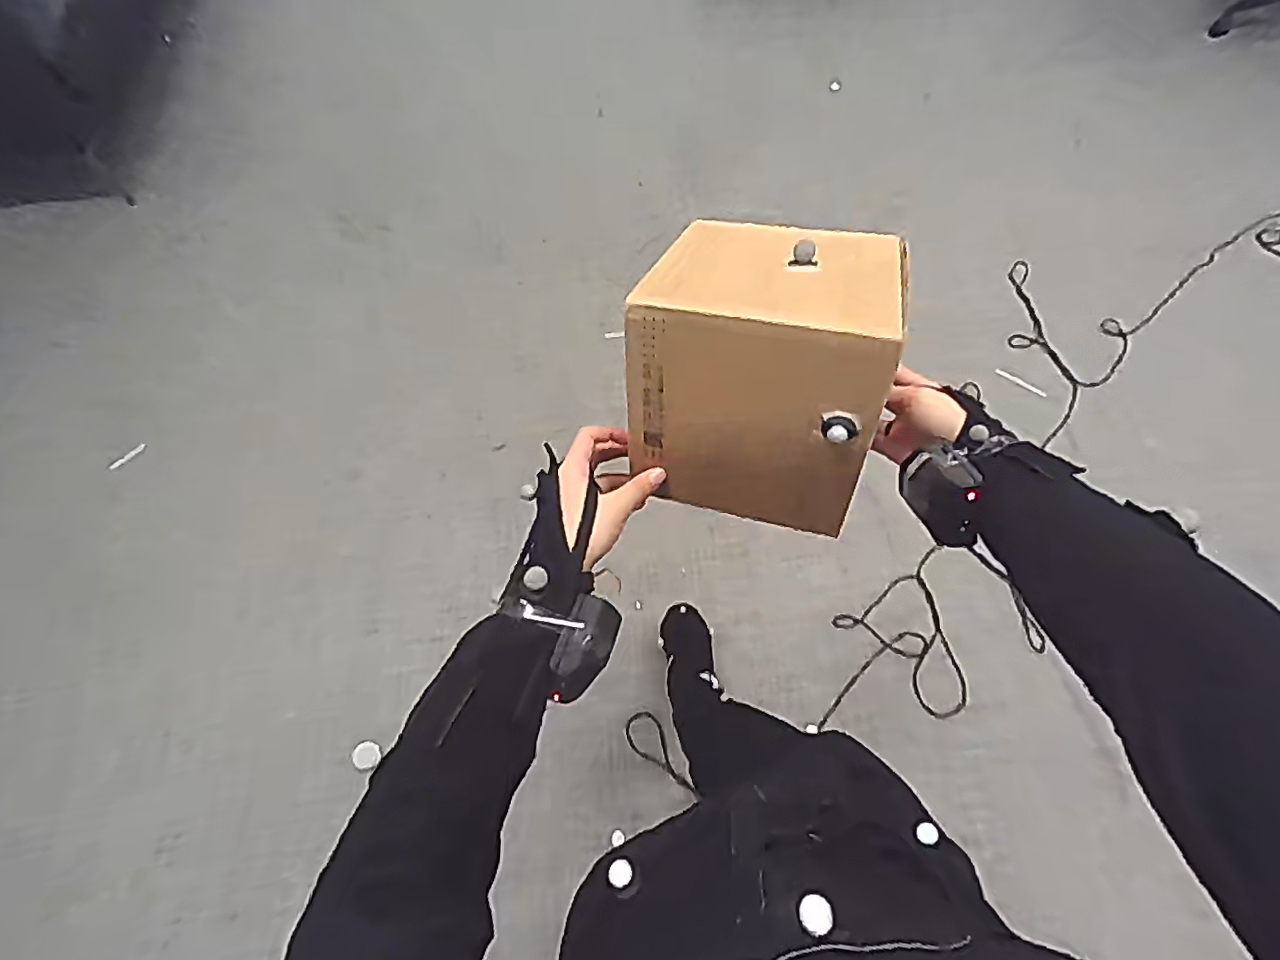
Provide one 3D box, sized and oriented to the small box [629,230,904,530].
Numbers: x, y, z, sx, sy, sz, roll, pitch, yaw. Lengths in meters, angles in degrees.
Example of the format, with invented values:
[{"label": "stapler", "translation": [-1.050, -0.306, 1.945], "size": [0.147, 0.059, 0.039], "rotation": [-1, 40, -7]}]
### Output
[{"label": "small box", "translation": [0.096, -0.091, 0.441], "size": [0.176, 0.168, 0.179], "rotation": [12, 43, 14]}]
